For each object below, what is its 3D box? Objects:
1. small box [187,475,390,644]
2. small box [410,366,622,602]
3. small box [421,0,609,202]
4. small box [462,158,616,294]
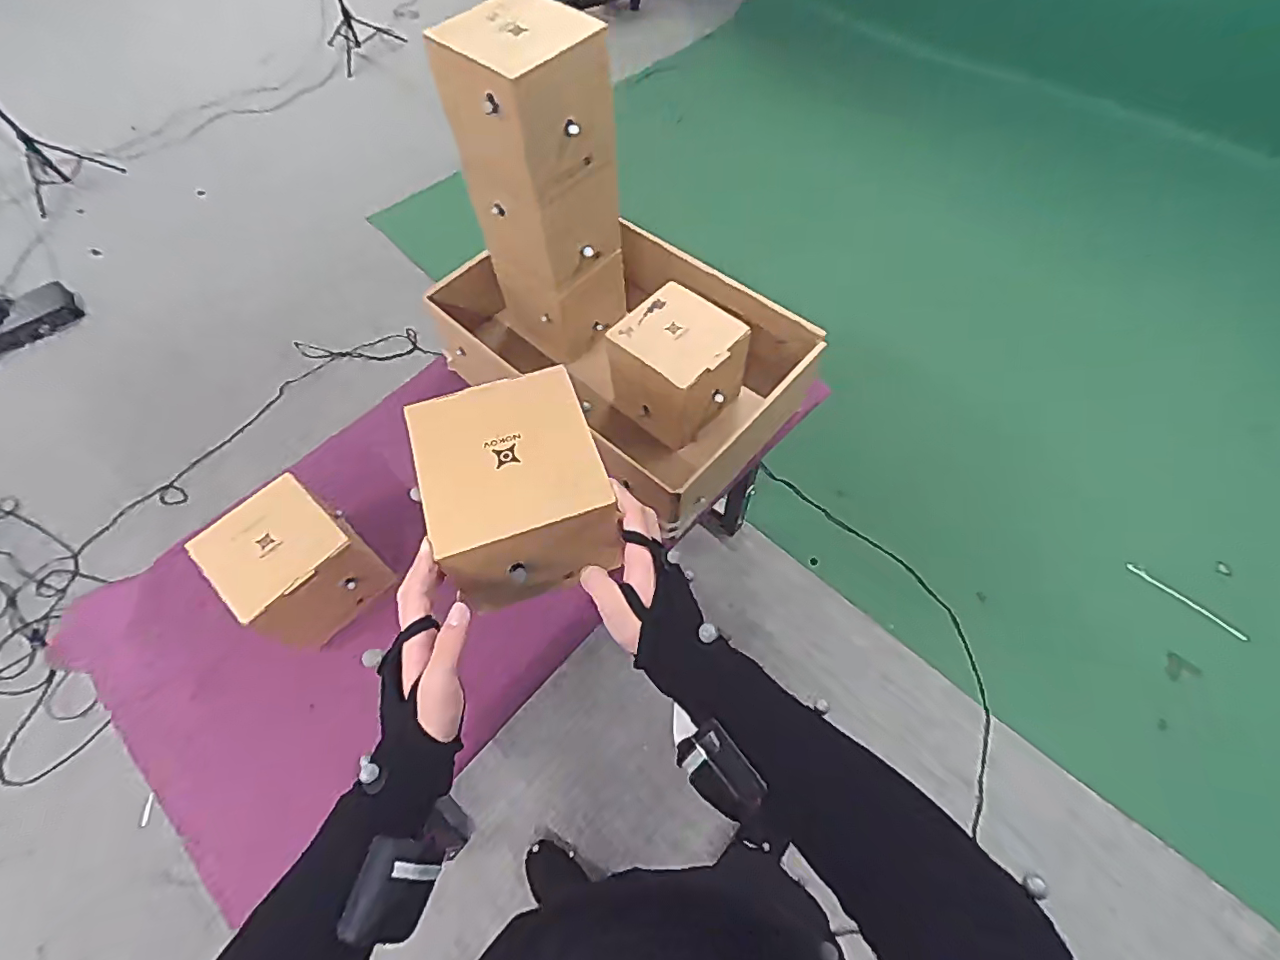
[{"bbox_3d":[-0.527,0.132,0.838,0.179,0.176,0.168,38,68,21],"label":"small box"},{"bbox_3d":[-0.121,0.015,0.576,0.168,0.176,0.179,-18,61,-10],"label":"small box"},{"bbox_3d":[-0.158,-0.521,0.751,0.179,0.176,0.168,38,69,19],"label":"small box"},{"bbox_3d":[-0.157,-0.445,0.897,0.179,0.176,0.168,37,70,19],"label":"small box"}]
